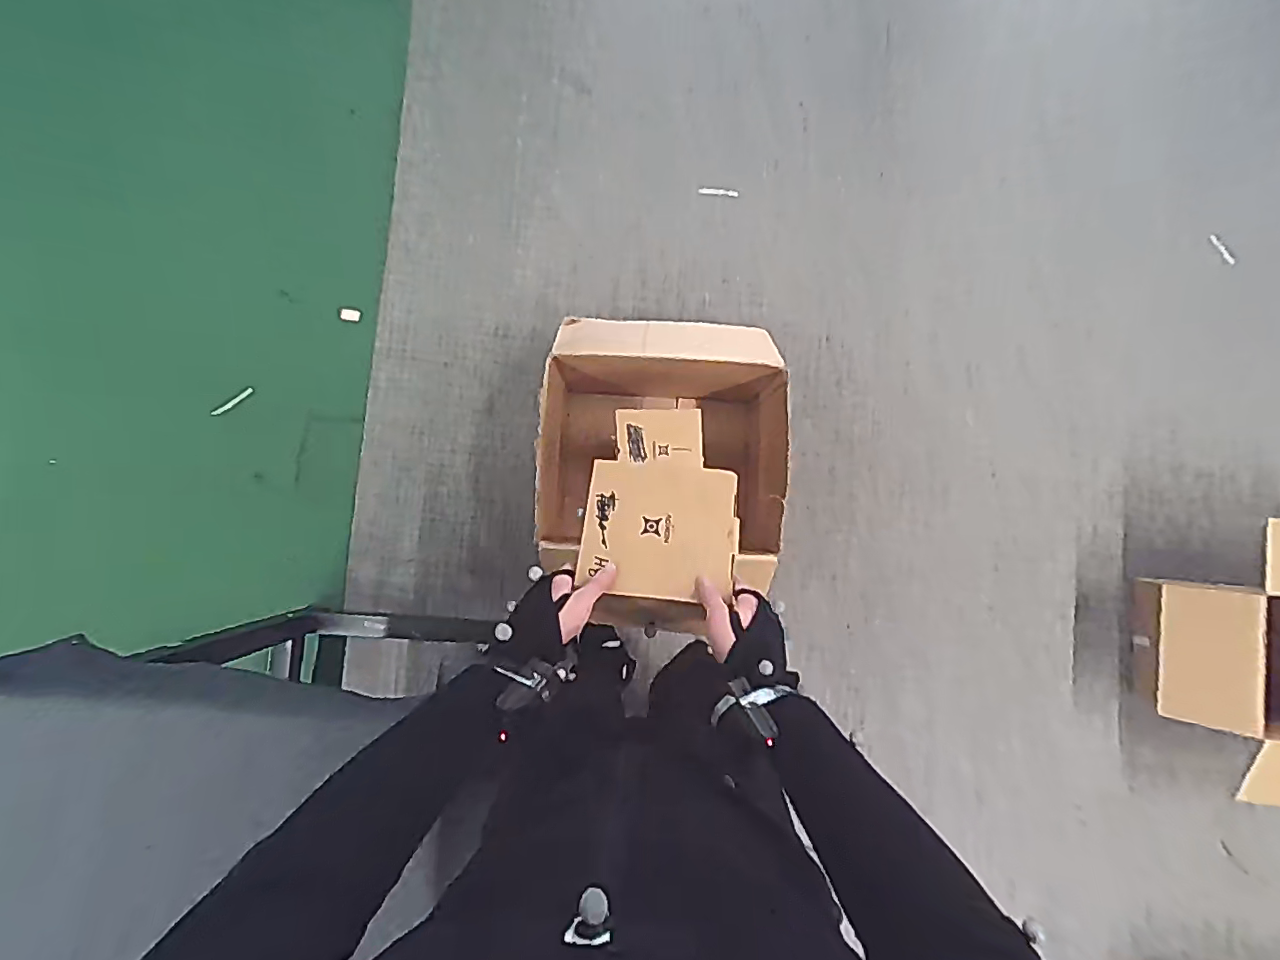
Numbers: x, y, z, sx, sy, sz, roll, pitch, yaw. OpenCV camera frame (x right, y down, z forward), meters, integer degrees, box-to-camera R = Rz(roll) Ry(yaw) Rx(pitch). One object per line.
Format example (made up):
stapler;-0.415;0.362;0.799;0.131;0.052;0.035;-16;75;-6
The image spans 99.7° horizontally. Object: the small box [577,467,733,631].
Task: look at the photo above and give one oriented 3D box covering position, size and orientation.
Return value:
small box;0.022;0.098;0.708;0.179;0.176;0.168;4;64;3
